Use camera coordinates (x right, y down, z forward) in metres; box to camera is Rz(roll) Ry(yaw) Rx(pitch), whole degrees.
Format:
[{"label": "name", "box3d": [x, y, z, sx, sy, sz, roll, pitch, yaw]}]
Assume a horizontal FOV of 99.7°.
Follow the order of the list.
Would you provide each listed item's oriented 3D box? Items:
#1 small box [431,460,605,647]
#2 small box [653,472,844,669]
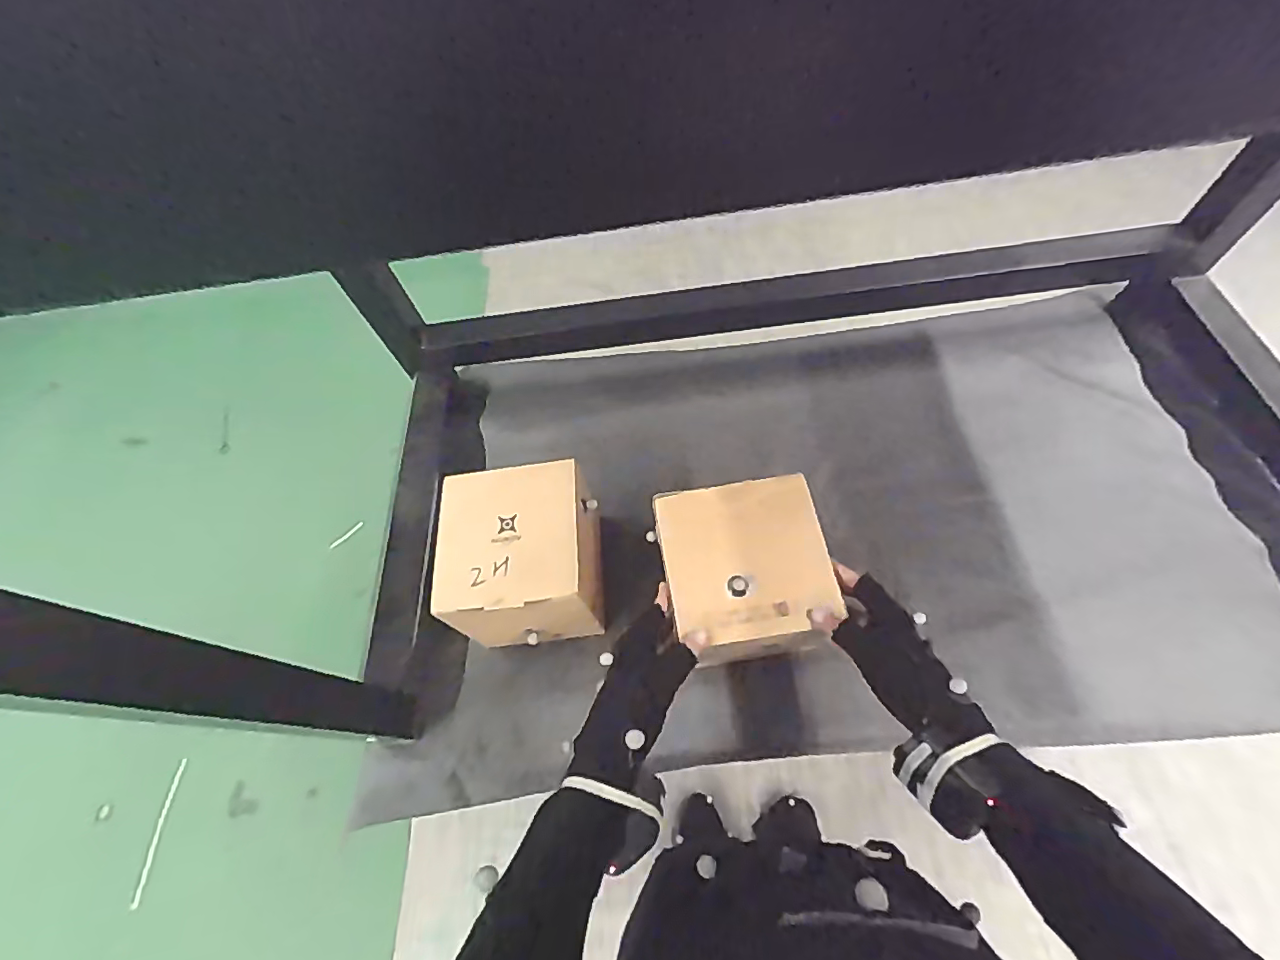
[{"label": "small box", "box3d": [-0.141, 0.099, 0.687, 0.168, 0.176, 0.179, -8, 59, 5]}, {"label": "small box", "box3d": [0.114, 0.114, 0.621, 0.168, 0.179, 0.176, -11, 65, 1]}]
